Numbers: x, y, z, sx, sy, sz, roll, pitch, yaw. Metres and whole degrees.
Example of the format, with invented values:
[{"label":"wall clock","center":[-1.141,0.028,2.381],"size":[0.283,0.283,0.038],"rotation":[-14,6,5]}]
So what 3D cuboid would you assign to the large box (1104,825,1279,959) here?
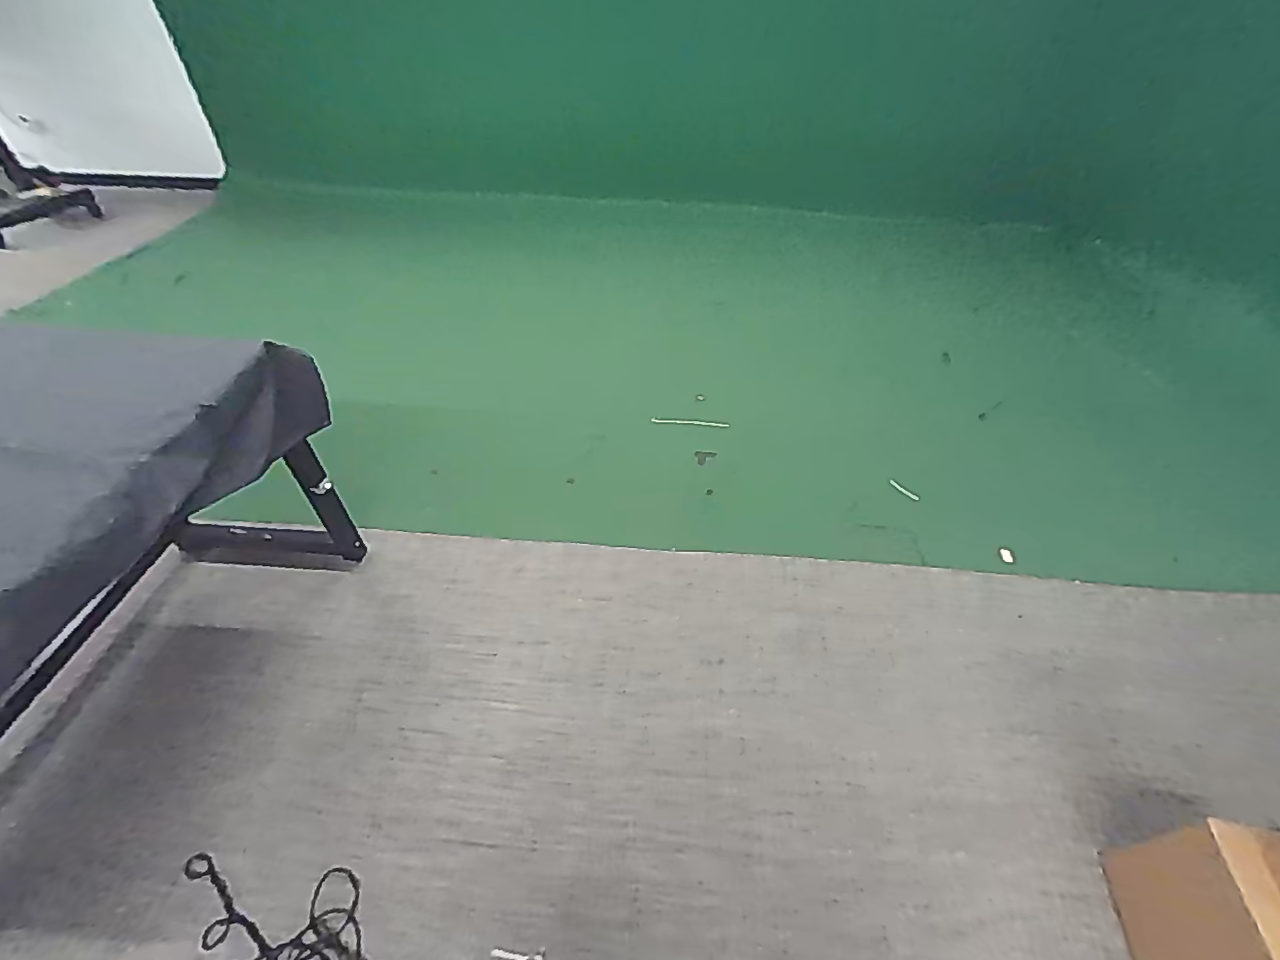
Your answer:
[{"label":"large box","center":[1.104,0.861,0.898],"size":[0.320,0.320,0.408],"rotation":[7,46,7]}]
